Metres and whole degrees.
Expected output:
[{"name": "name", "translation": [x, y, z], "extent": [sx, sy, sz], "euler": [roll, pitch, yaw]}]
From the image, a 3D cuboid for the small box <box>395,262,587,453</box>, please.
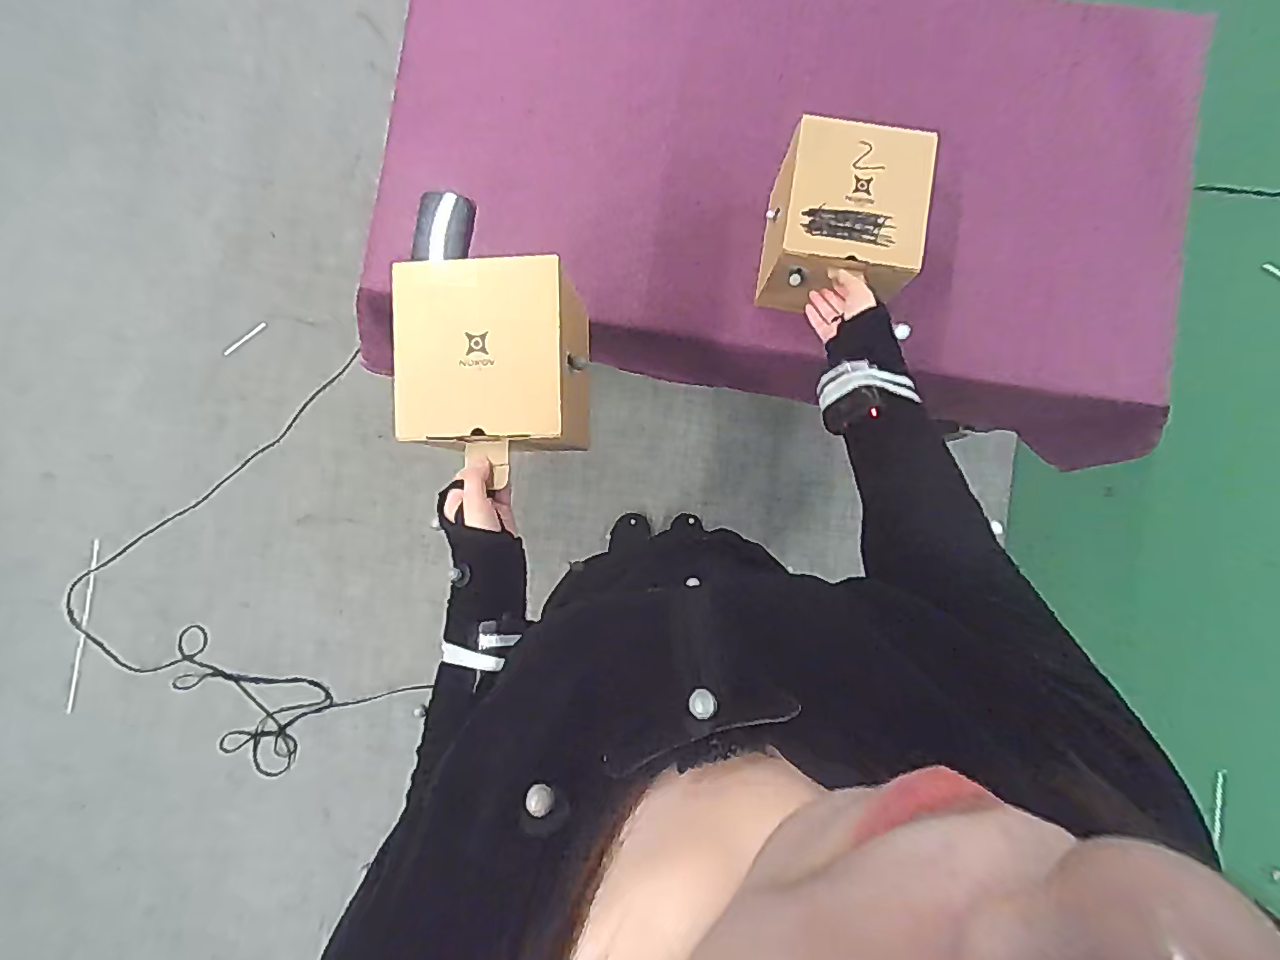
[{"name": "small box", "translation": [-0.154, -0.123, 0.606], "extent": [0.168, 0.176, 0.179], "euler": [-1, 90, 4]}]
